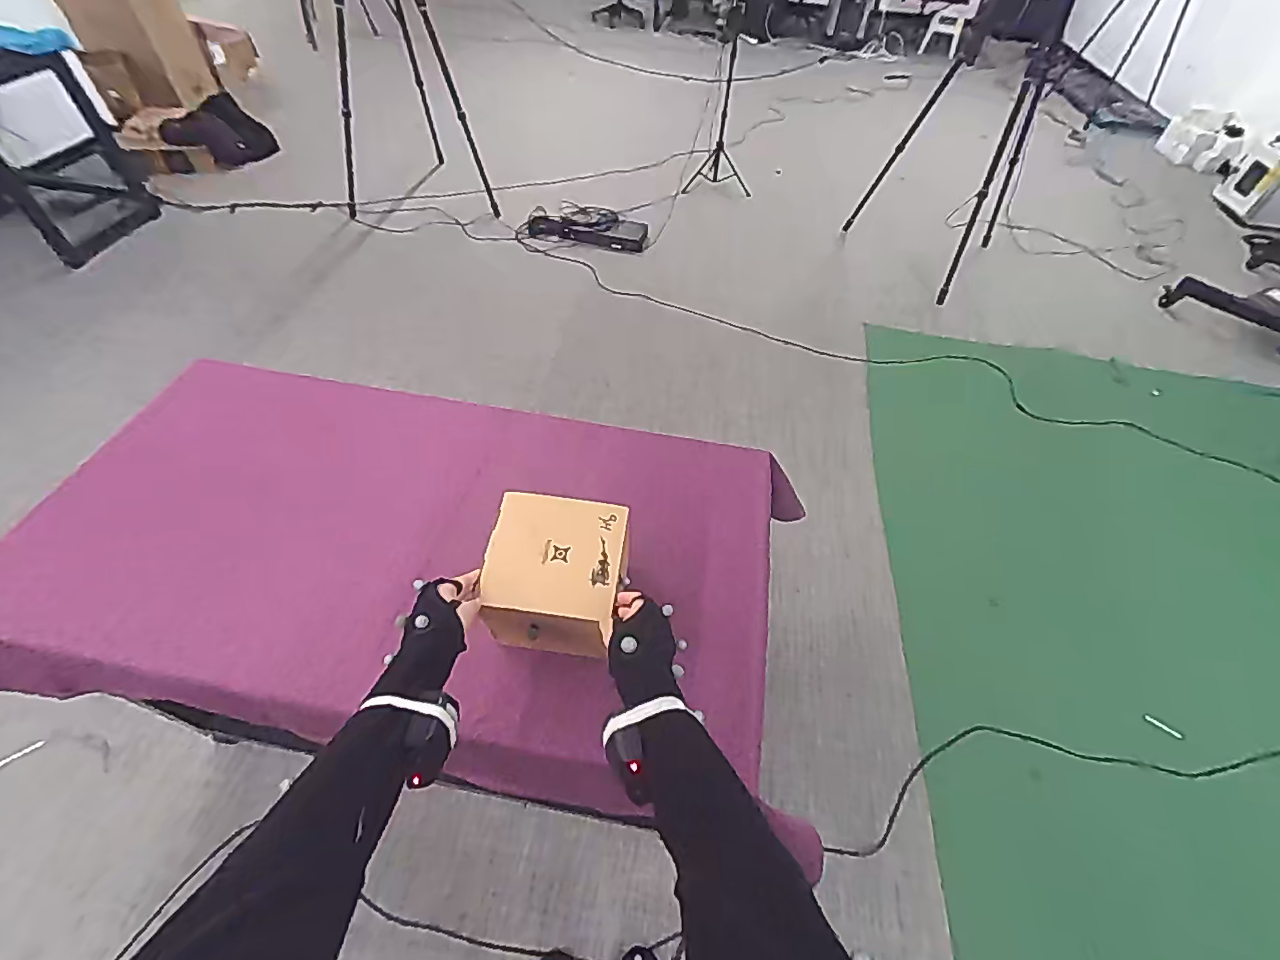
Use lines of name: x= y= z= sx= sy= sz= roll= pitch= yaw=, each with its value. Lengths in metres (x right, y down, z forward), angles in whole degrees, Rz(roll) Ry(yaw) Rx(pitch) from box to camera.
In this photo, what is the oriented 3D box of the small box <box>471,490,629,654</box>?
small box: x=-0.113 y=0.136 z=0.769 sx=0.179 sy=0.176 sz=0.168 roll=7 pitch=56 yaw=4
